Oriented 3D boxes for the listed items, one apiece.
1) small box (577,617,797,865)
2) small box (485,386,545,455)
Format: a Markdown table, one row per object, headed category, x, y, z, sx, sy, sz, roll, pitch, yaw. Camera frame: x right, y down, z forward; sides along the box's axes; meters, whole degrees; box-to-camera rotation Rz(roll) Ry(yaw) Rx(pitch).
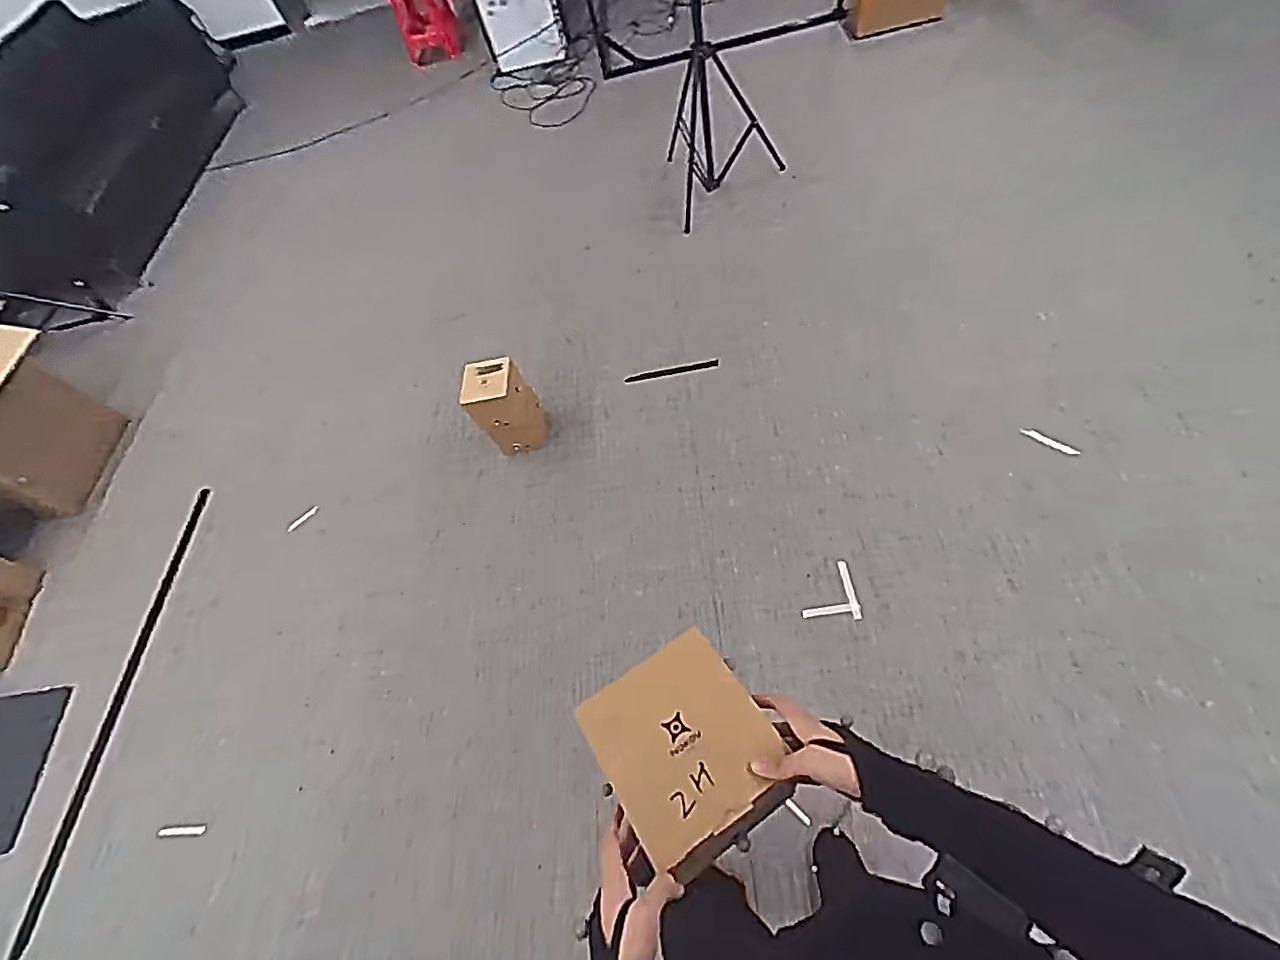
| category | x | y | z | sx | sy | sz | roll | pitch | yaw |
| --- | --- | --- | --- | --- | --- | --- | --- | --- | --- |
| small box | 0.053 | 0.296 | 0.610 | 0.168 | 0.176 | 0.179 | -30 | 52 | -12 |
| small box | -0.463 | -0.221 | 2.021 | 0.168 | 0.176 | 0.179 | -11 | 58 | 8 |
